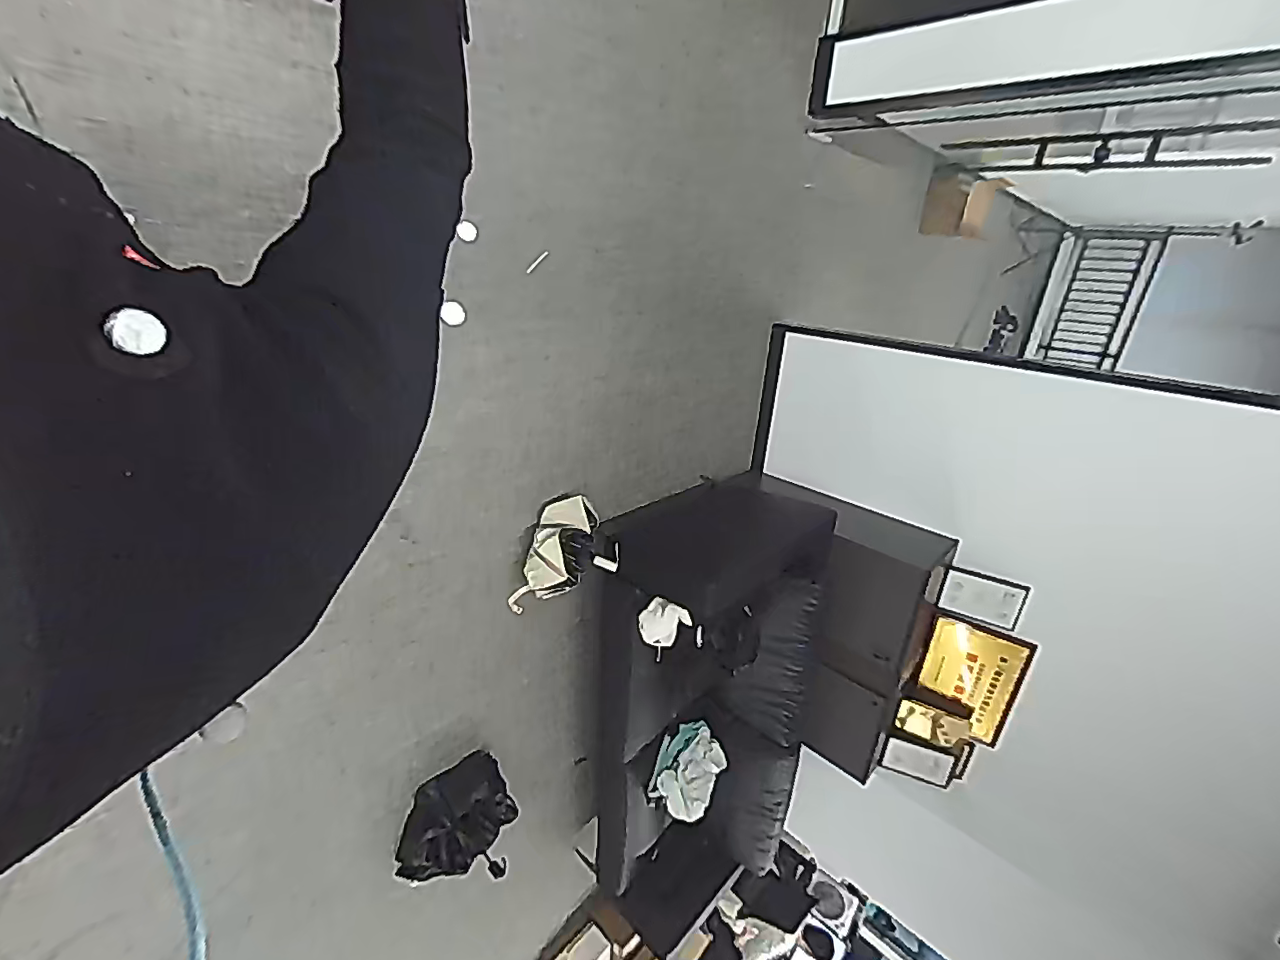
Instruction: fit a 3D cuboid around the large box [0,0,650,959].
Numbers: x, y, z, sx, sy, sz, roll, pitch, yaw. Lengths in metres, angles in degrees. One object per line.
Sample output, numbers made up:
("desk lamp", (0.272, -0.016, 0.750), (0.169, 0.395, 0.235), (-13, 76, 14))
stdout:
("large box", (-0.204, 0.002, 0.305), (0.320, 0.320, 0.408), (13, 67, -20))
